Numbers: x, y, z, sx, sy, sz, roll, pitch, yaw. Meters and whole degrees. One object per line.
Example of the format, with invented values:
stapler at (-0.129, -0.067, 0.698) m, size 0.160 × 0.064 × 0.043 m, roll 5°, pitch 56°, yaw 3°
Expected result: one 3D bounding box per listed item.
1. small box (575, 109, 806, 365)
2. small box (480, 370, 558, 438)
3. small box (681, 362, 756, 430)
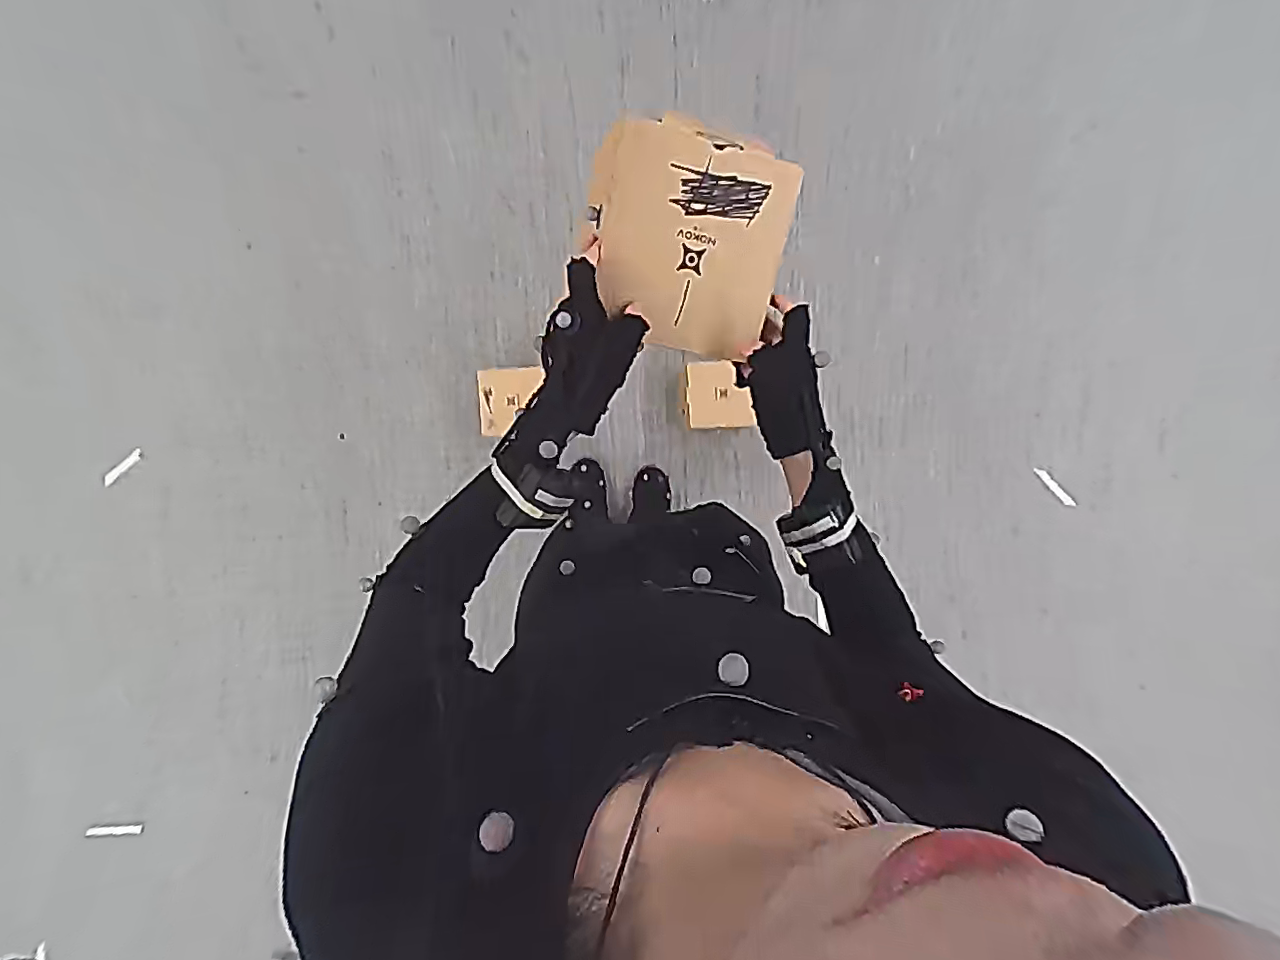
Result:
small box at (0.032, -0.228, 0.541) m, size 0.168 × 0.176 × 0.179 m, roll 8°, pitch 110°, yaw -15°
small box at (-0.309, -0.195, 1.421) m, size 0.179 × 0.176 × 0.168 m, roll -3°, pitch 93°, yaw -2°
small box at (0.202, -0.219, 1.440) m, size 0.179 × 0.176 × 0.168 m, roll -3°, pitch 95°, yaw -3°
